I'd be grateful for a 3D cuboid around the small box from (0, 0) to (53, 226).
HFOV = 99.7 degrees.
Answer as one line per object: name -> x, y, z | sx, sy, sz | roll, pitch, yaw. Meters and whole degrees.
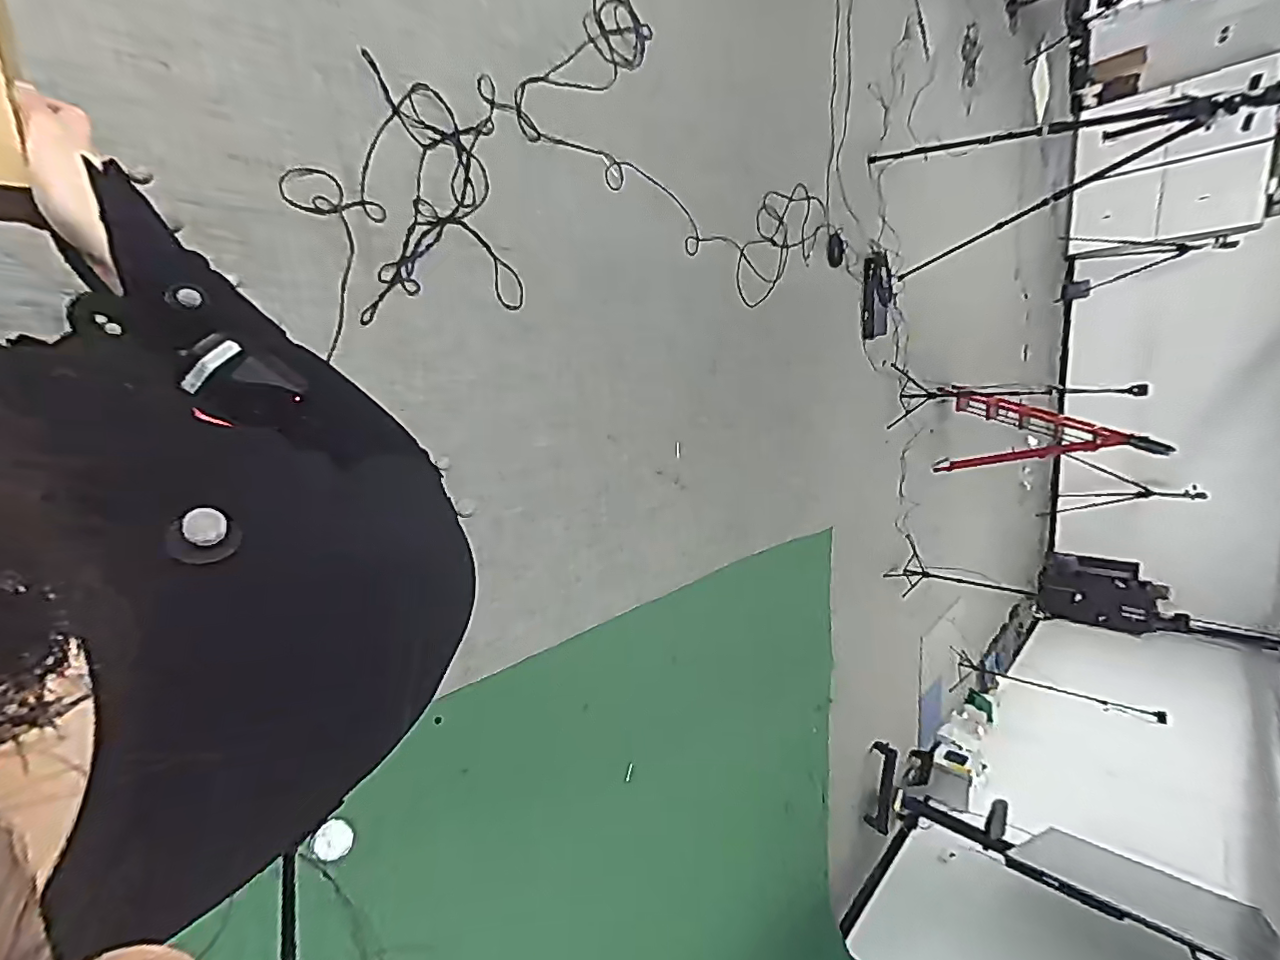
small box -> -0.464, -0.249, 0.295 | 0.168, 0.176, 0.179 | -13, 110, -42
